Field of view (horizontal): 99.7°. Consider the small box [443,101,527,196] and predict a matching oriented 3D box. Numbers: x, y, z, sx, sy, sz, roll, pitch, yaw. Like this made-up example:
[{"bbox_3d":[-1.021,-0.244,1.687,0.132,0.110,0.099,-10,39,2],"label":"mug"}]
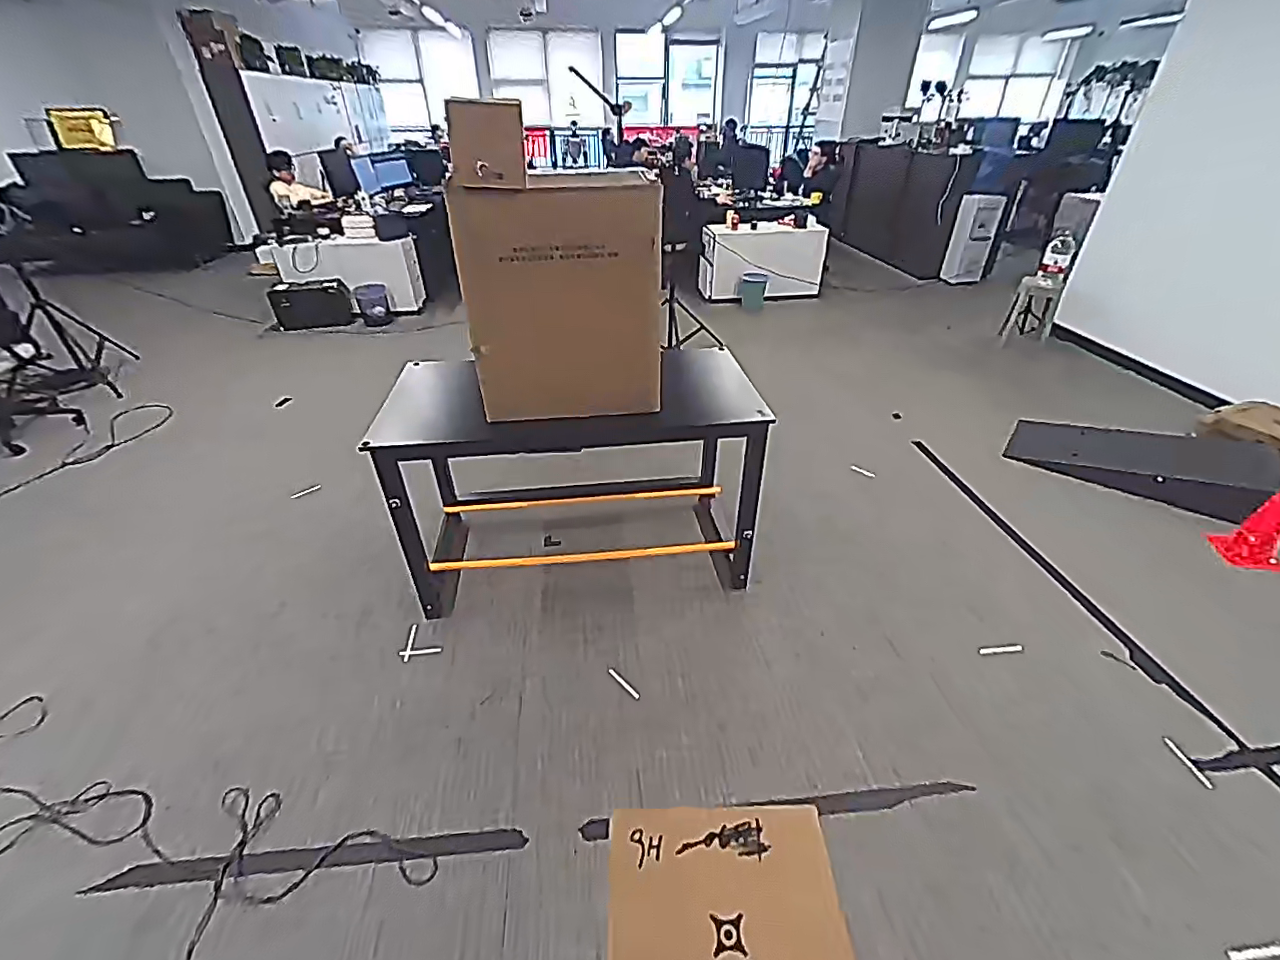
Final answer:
[{"bbox_3d":[-0.357,-0.778,1.267,0.168,0.176,0.179,-6,38,-10],"label":"small box"}]
